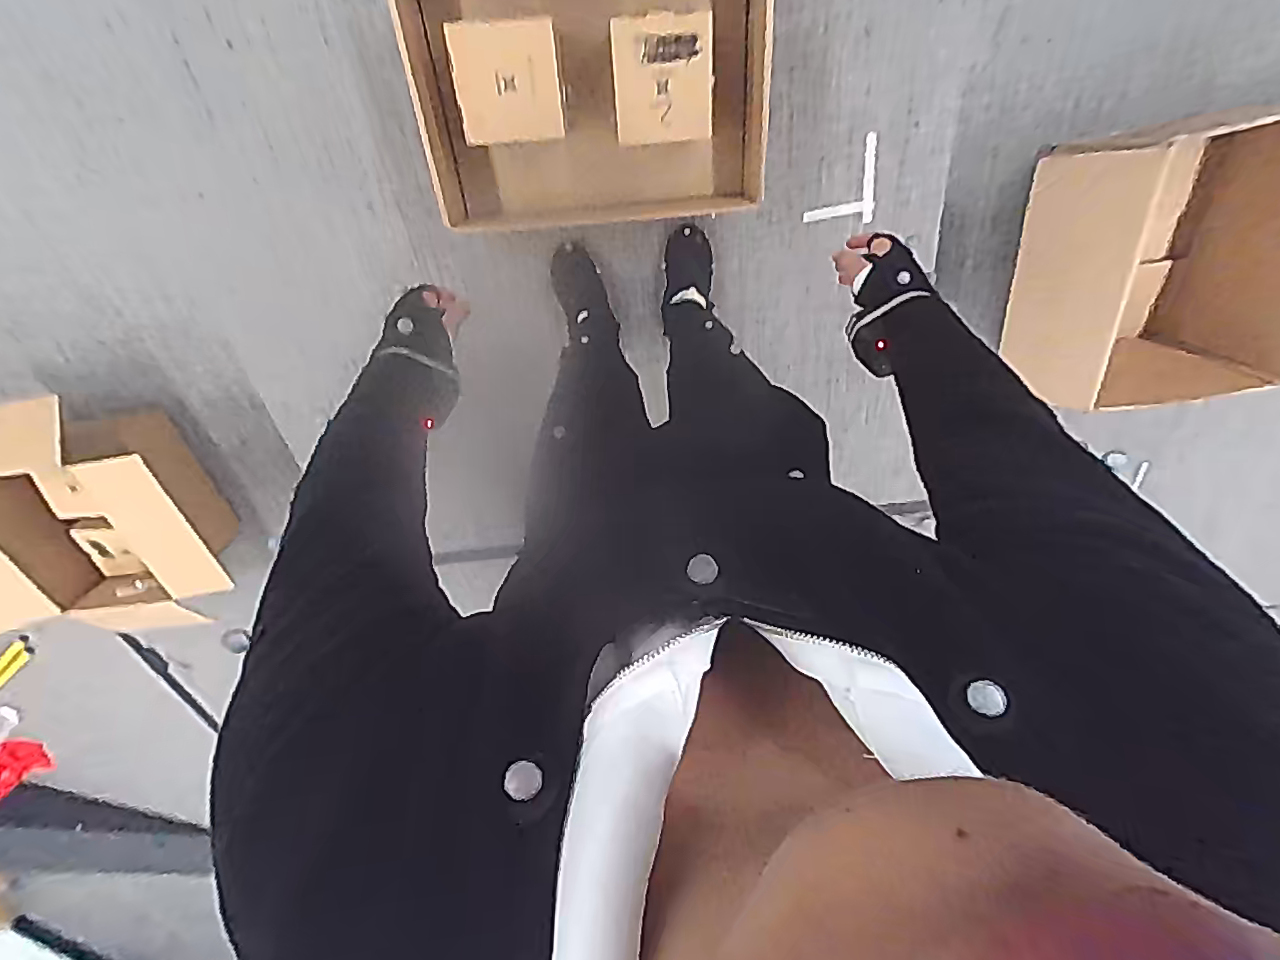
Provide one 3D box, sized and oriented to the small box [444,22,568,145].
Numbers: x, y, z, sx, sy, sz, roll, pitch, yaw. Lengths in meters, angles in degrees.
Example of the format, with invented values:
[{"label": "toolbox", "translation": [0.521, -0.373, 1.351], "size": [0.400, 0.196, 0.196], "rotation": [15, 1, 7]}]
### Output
[{"label": "small box", "translation": [-0.230, -0.708, 0.978], "size": [0.179, 0.176, 0.168], "rotation": [-5, 125, -1]}]
